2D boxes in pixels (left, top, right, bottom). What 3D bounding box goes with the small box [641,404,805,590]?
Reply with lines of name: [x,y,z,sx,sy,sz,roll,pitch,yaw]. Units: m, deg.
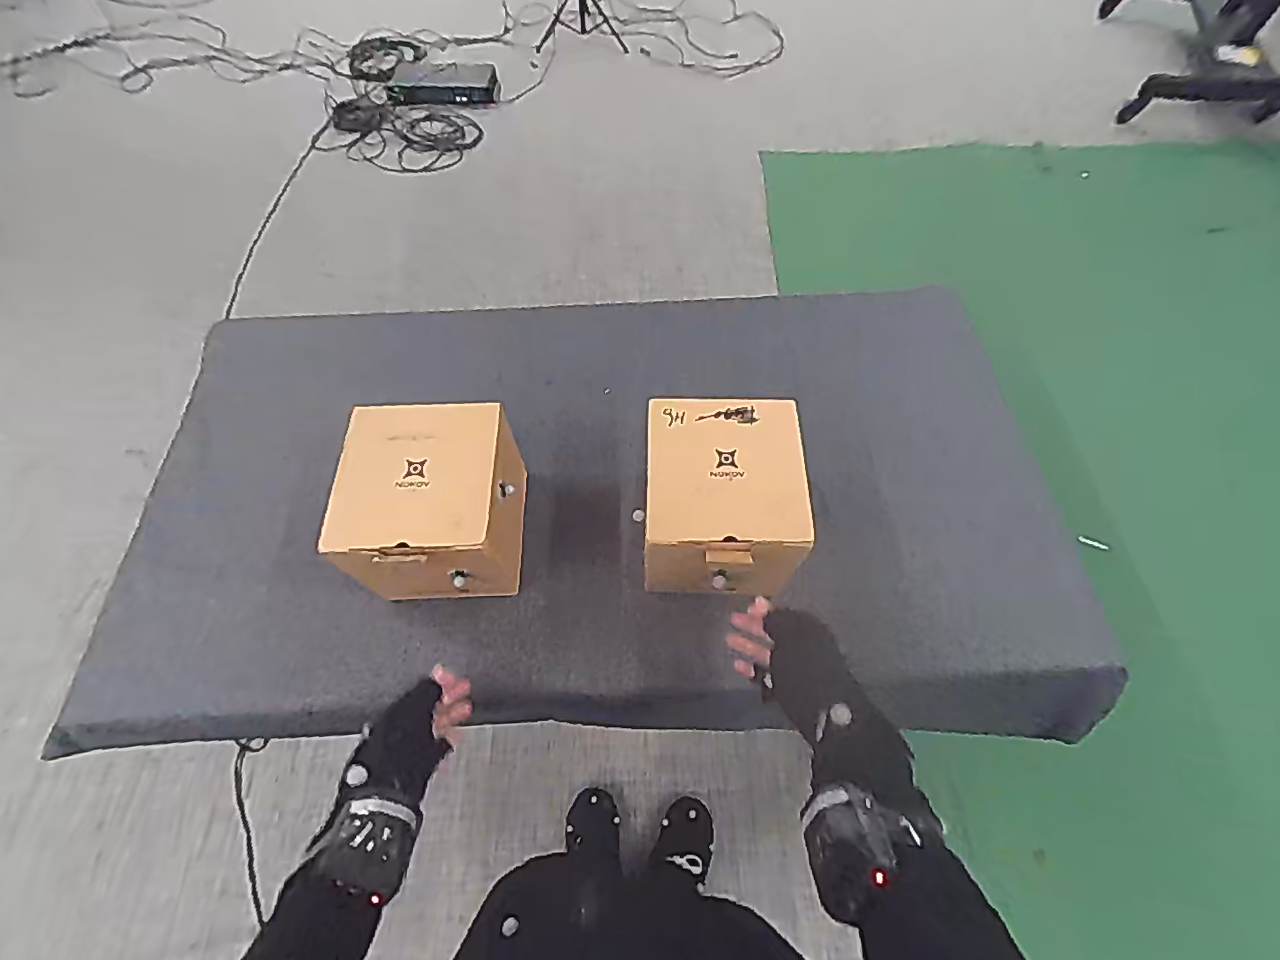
small box: [0.087,0.028,0.644,0.168,0.176,0.179,0,63,2]

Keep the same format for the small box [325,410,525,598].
small box: [-0.237,0.038,0.649,0.168,0.176,0.179,-3,61,-1]
